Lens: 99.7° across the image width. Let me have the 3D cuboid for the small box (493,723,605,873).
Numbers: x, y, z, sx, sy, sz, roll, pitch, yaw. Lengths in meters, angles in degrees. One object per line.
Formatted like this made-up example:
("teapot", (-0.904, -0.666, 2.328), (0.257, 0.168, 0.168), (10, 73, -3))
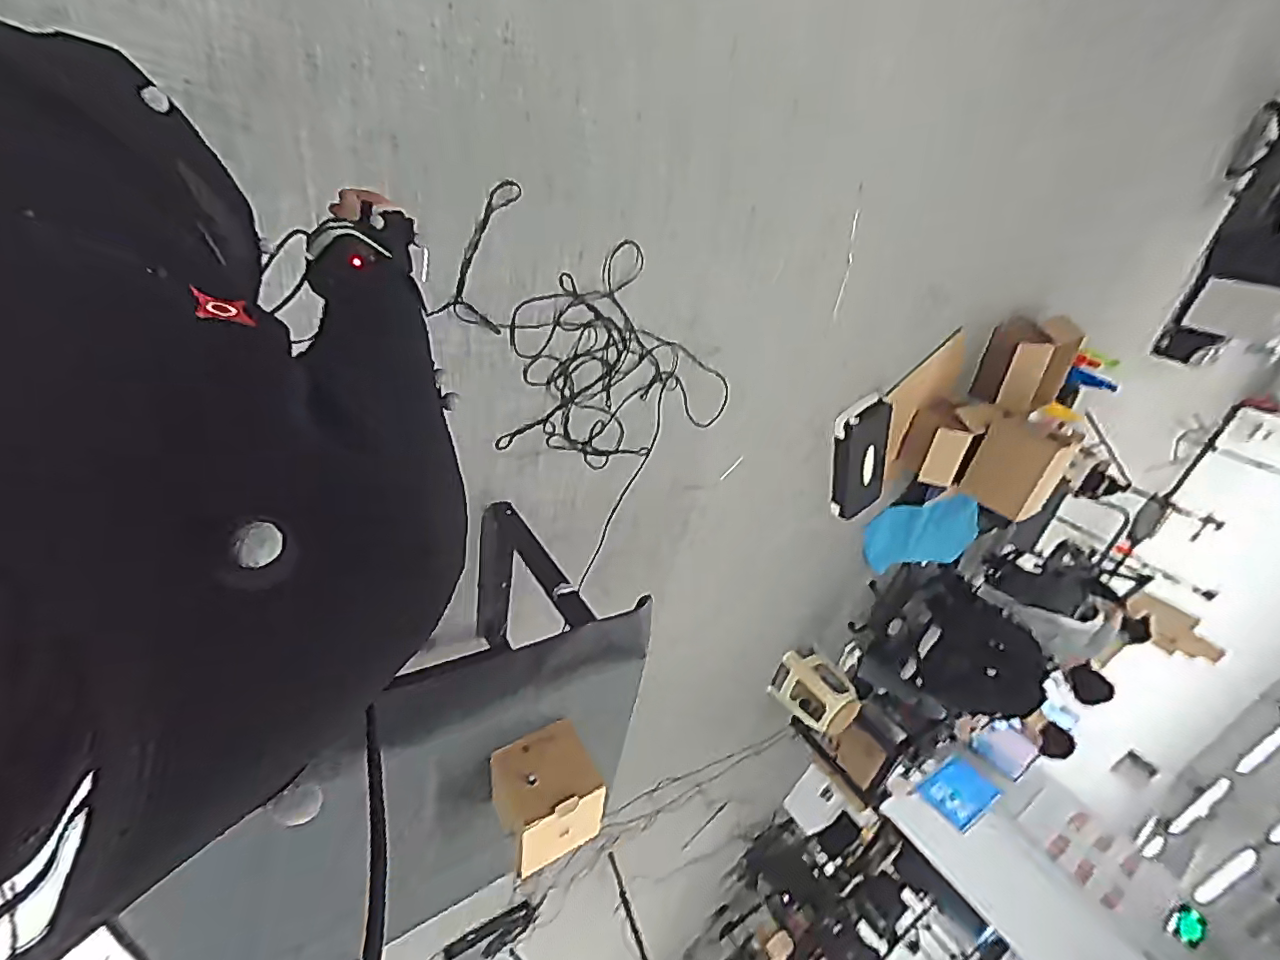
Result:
("small box", (-0.185, 0.612, 1.068), (0.168, 0.176, 0.179), (-13, 128, -30))
